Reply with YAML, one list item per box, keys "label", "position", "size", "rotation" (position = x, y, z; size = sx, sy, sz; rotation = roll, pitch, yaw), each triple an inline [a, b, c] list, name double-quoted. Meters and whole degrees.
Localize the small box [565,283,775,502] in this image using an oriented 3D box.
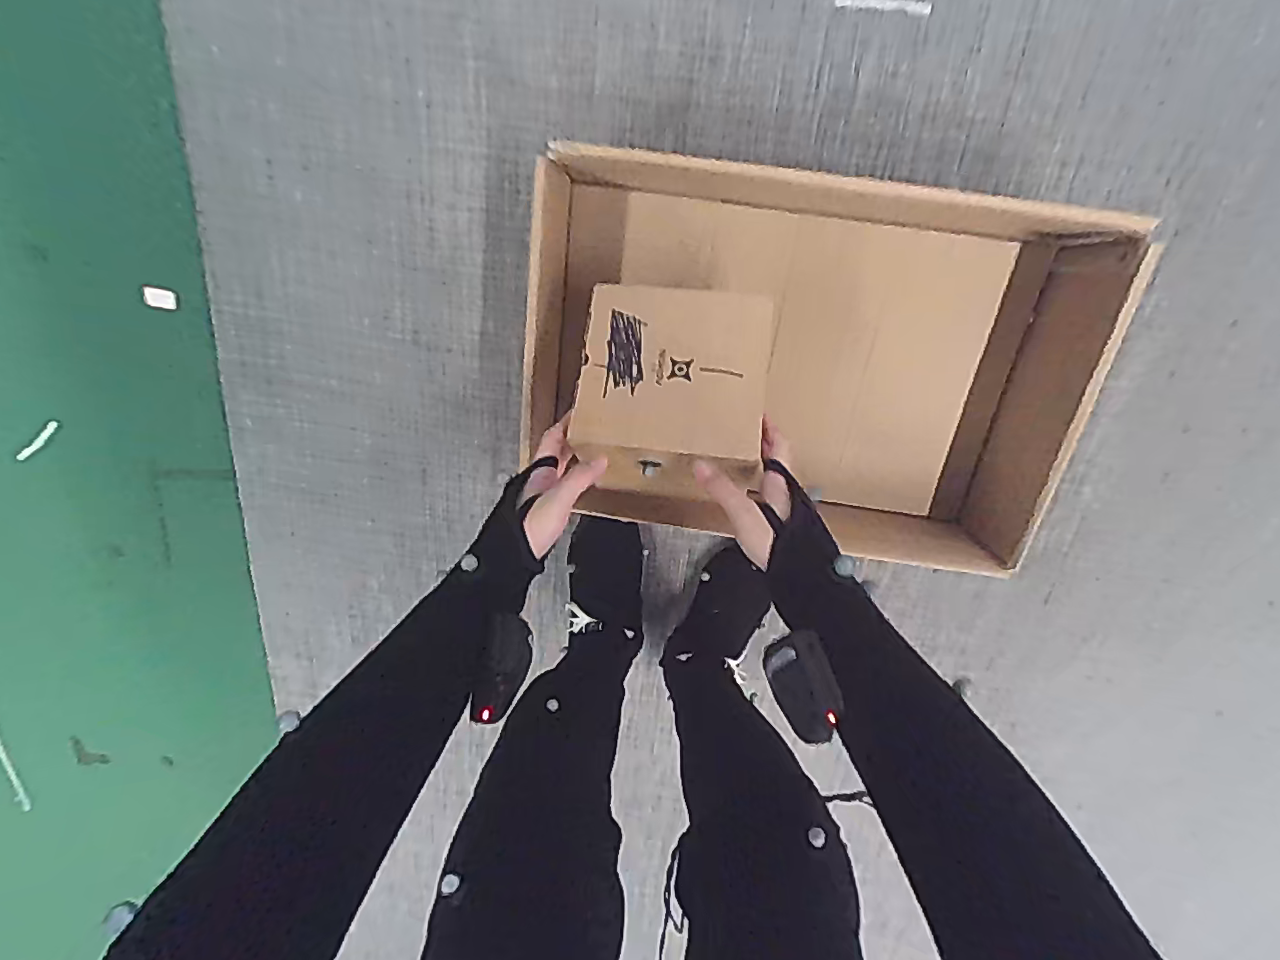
- label: "small box"
  position: [0.037, -0.081, 0.570]
  size: [0.179, 0.176, 0.168]
  rotation: [7, 73, 7]
